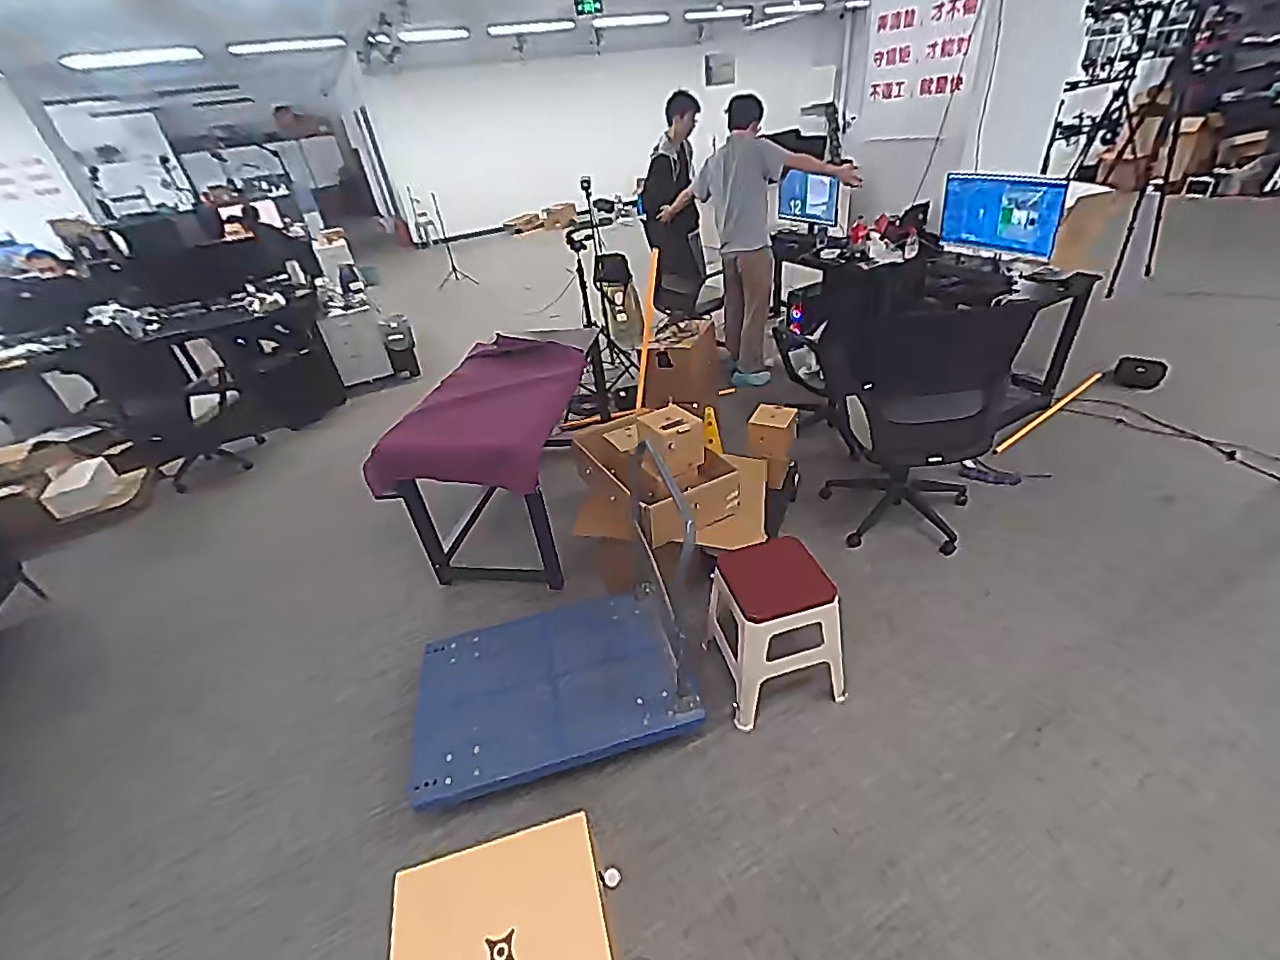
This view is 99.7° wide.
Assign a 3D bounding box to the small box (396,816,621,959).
[{"bbox_3d":[-0.102,0.434,0.466,0.168,0.176,0.179,-12,41,-9],"label":"small box"}]
